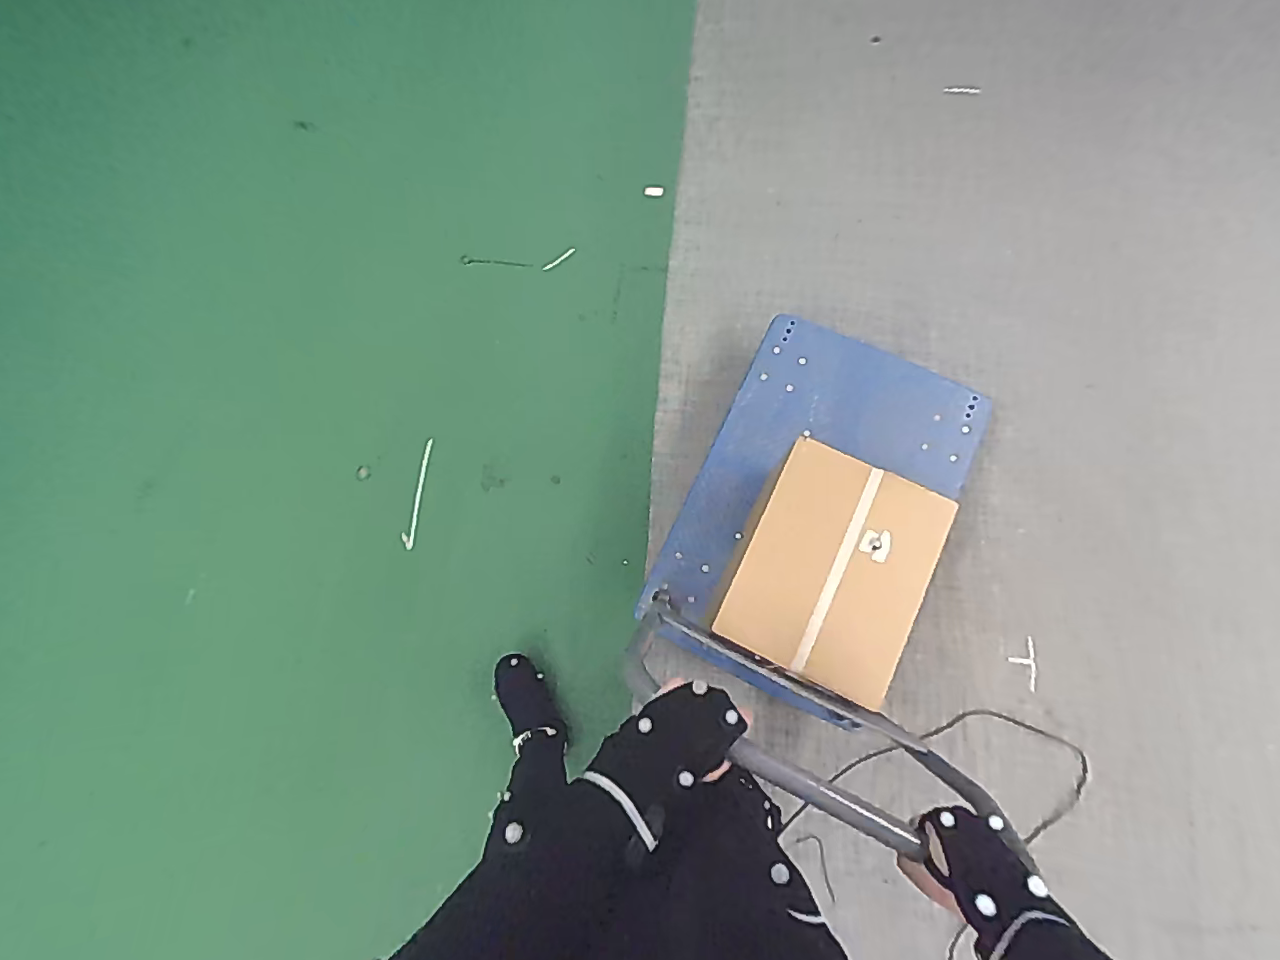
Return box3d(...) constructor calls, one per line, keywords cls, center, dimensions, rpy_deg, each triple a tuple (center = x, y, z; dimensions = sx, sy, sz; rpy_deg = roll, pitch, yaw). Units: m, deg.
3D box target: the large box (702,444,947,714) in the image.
box3d(cls="large box", center=(0.351, 0.199, 1.122), dimensions=(0.320, 0.320, 0.408), rpy_deg=(26, 80, 7))
